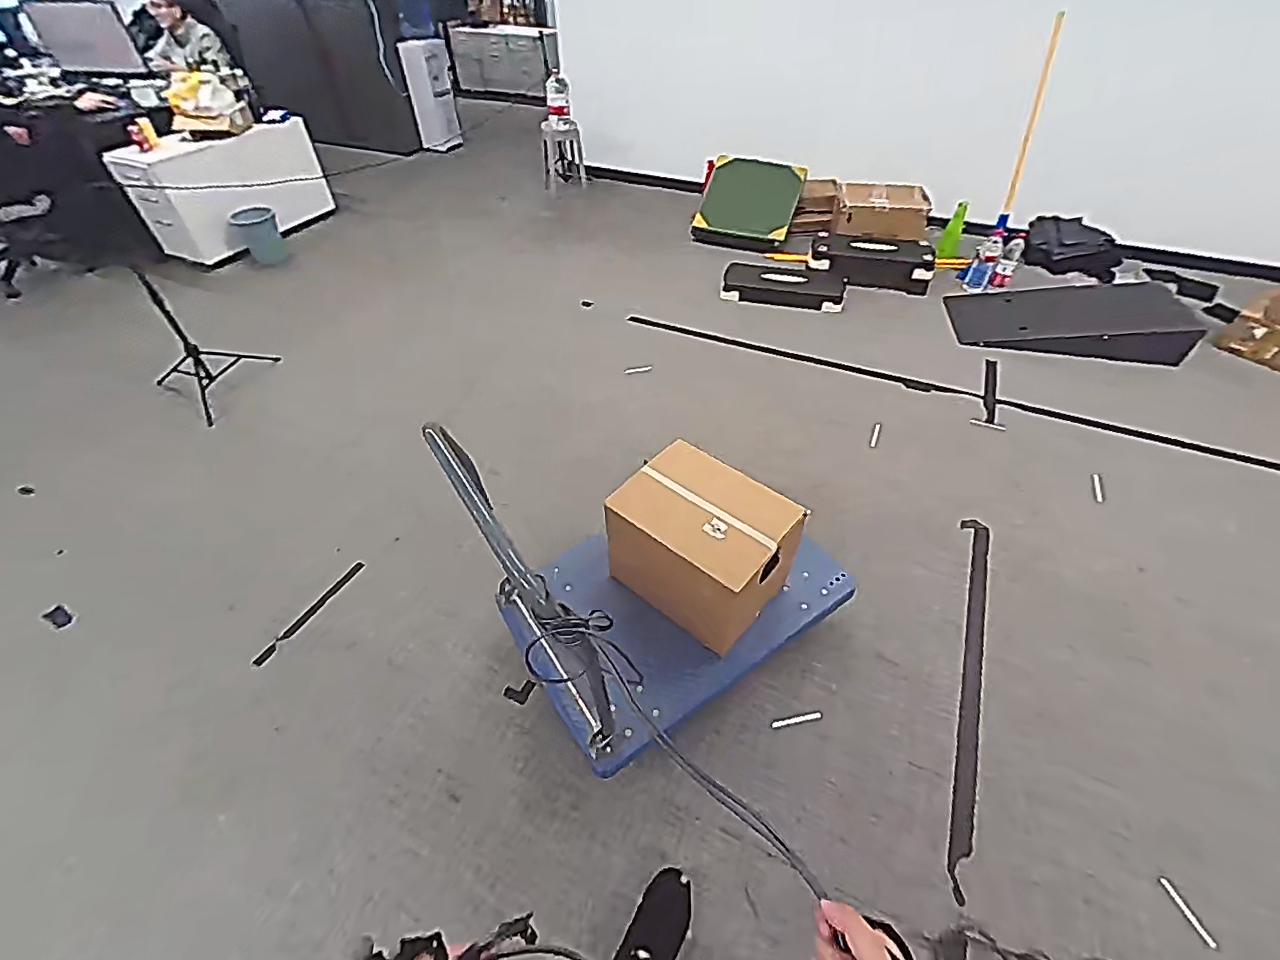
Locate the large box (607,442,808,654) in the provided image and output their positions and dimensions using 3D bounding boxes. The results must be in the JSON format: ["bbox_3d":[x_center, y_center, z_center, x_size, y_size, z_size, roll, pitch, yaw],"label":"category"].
[{"bbox_3d":[0.161,0.171,1.429,0.408,0.320,0.320,32,56,26],"label":"large box"}]
